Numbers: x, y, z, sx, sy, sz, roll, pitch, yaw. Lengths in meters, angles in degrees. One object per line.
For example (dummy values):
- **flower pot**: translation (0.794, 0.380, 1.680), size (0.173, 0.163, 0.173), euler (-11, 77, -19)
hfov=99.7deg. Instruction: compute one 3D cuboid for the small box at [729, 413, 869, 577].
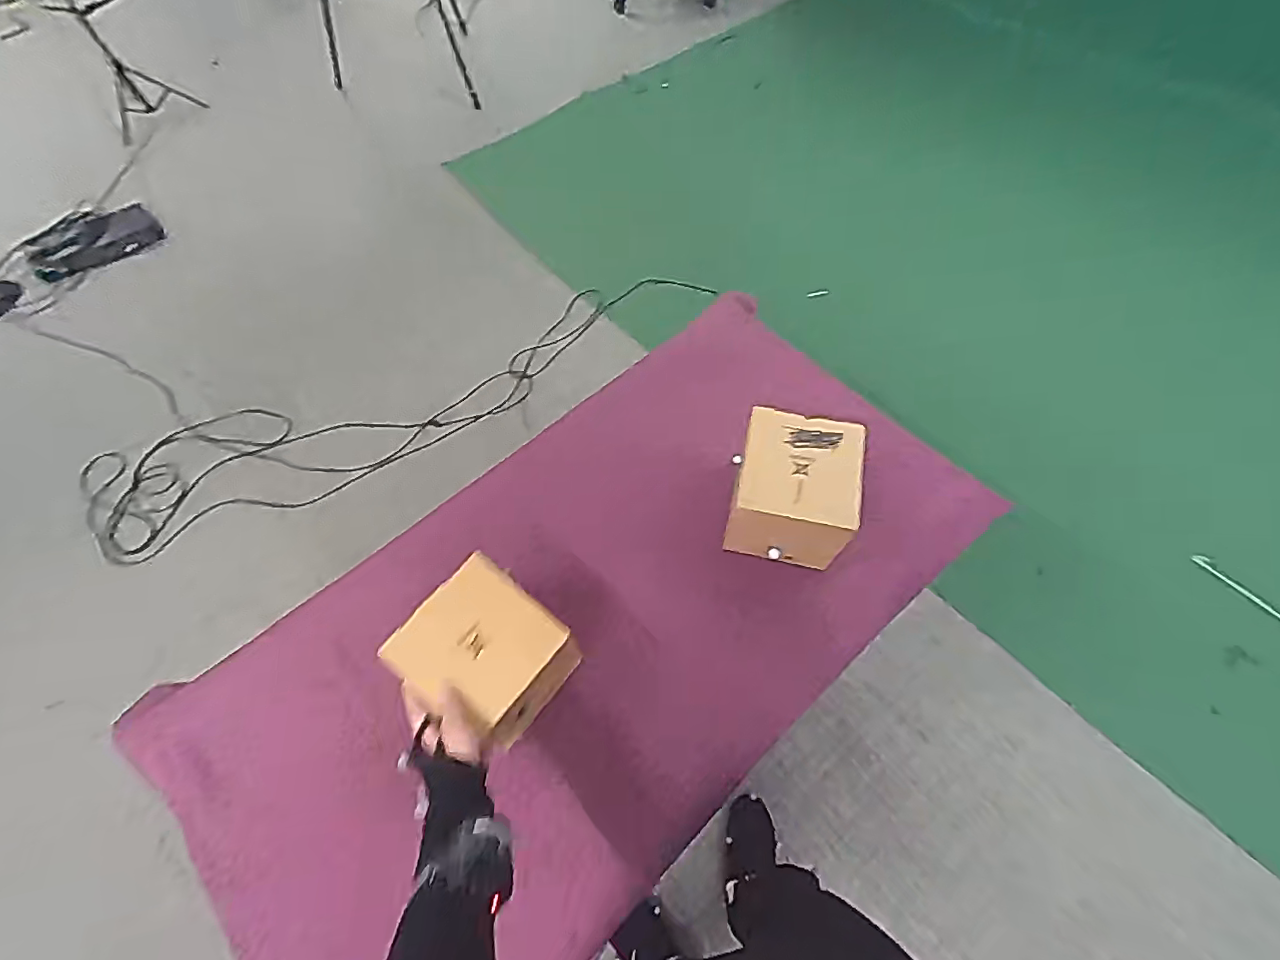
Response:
- **small box**: translation (0.237, 0.027, 0.831), size (0.168, 0.176, 0.179), euler (12, 63, 8)
